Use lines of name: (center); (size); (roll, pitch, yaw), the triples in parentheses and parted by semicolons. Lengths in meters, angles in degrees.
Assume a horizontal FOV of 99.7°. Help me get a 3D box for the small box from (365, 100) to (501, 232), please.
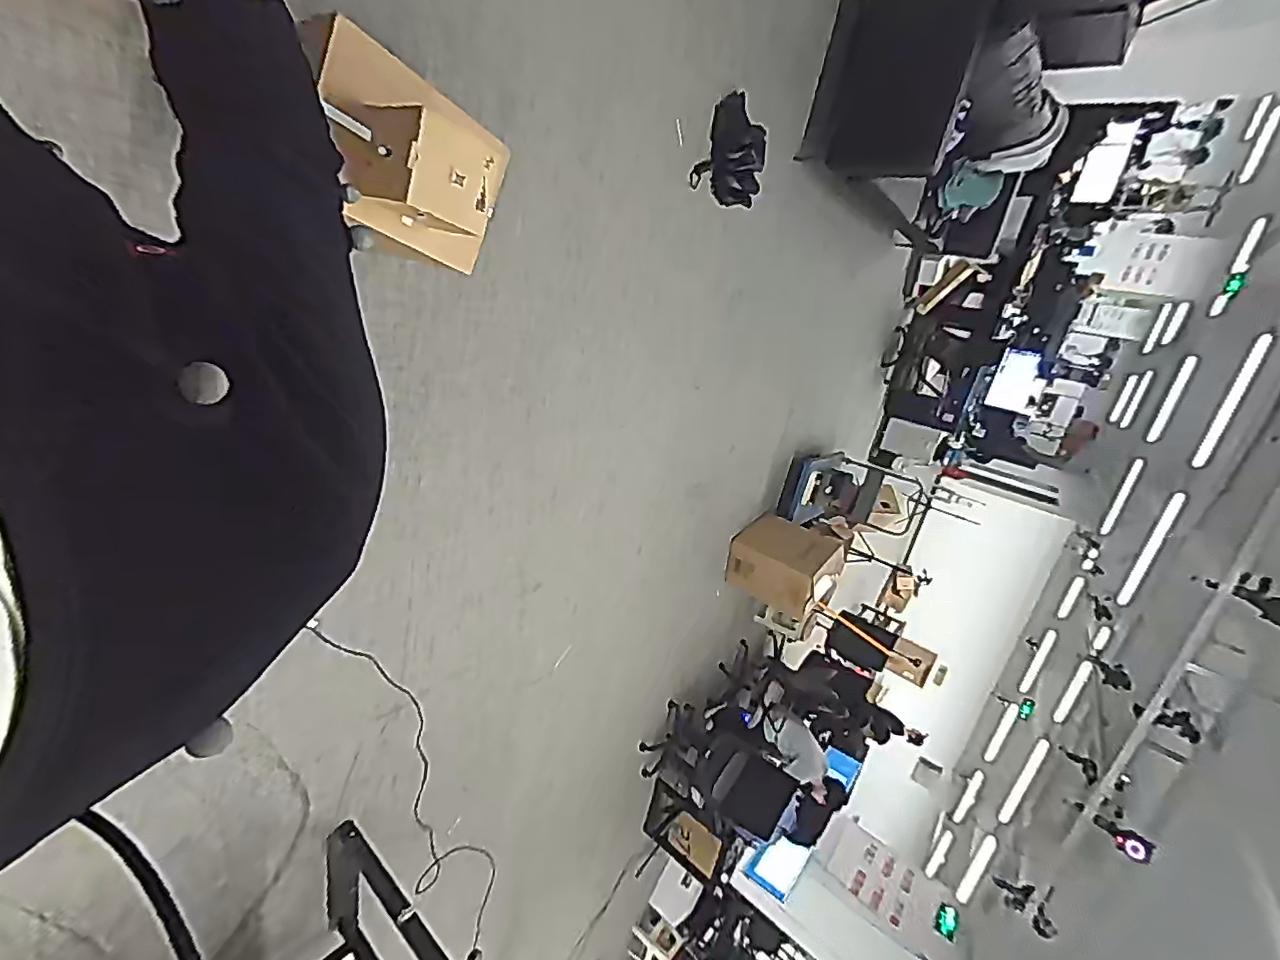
small box: (-0.407, -0.605, 1.056); (0.179, 0.176, 0.168); (0, 111, -54)
